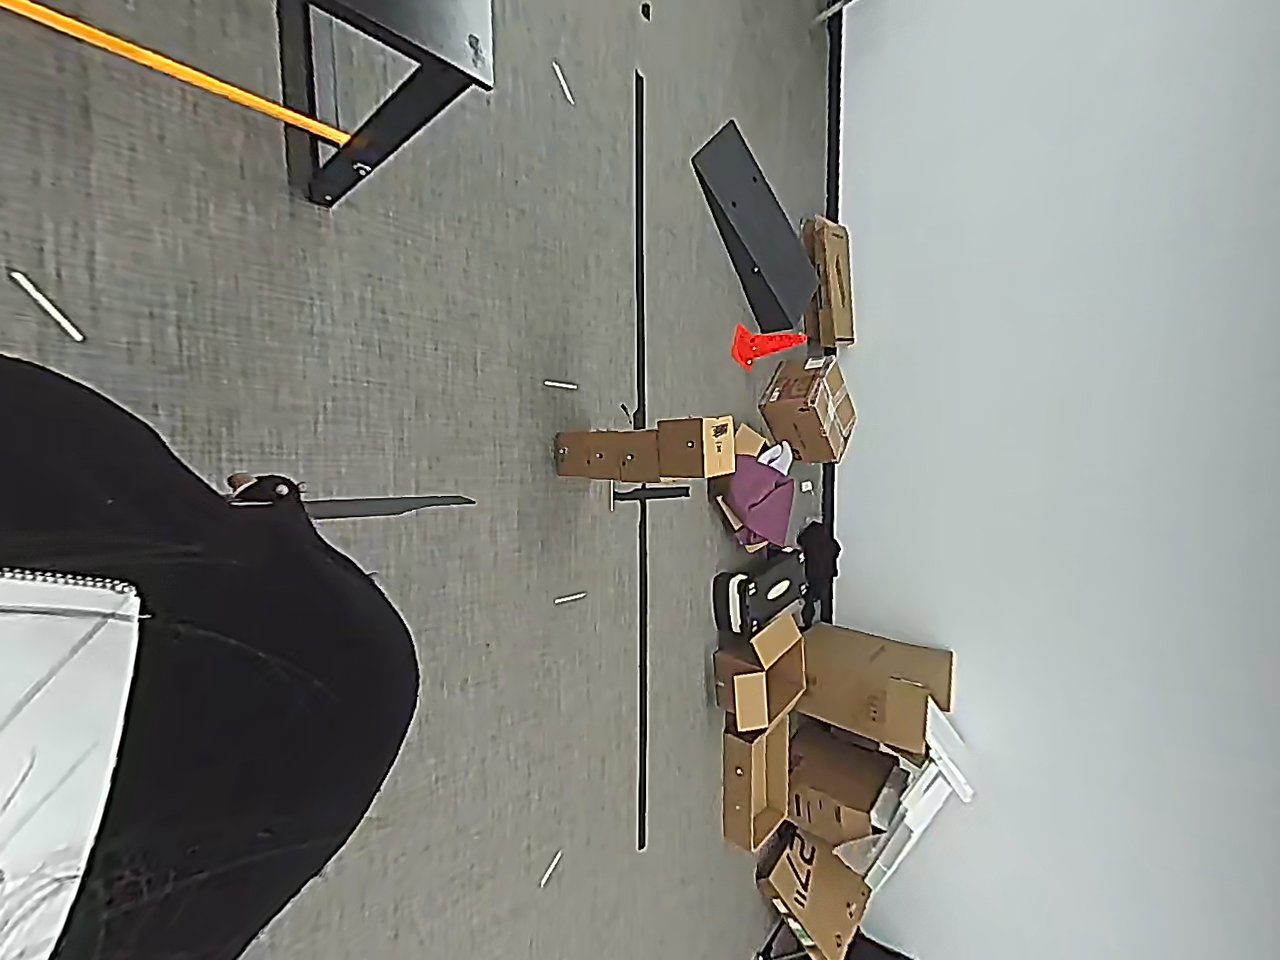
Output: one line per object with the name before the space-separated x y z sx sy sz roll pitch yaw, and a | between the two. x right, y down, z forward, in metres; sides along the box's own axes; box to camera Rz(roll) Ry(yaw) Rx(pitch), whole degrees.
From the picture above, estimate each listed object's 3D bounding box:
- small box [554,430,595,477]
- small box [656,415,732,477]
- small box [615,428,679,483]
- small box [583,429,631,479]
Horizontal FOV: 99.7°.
small box | -0.197 -0.098 1.988 0.179 0.176 0.168 -6 95 -47
small box | 0.162 -0.103 1.647 0.168 0.176 0.179 -11 99 -48
small box | 0.039 -0.086 1.757 0.179 0.176 0.168 -12 100 -48
small box | -0.085 -0.088 1.867 0.179 0.176 0.168 -5 95 -48
